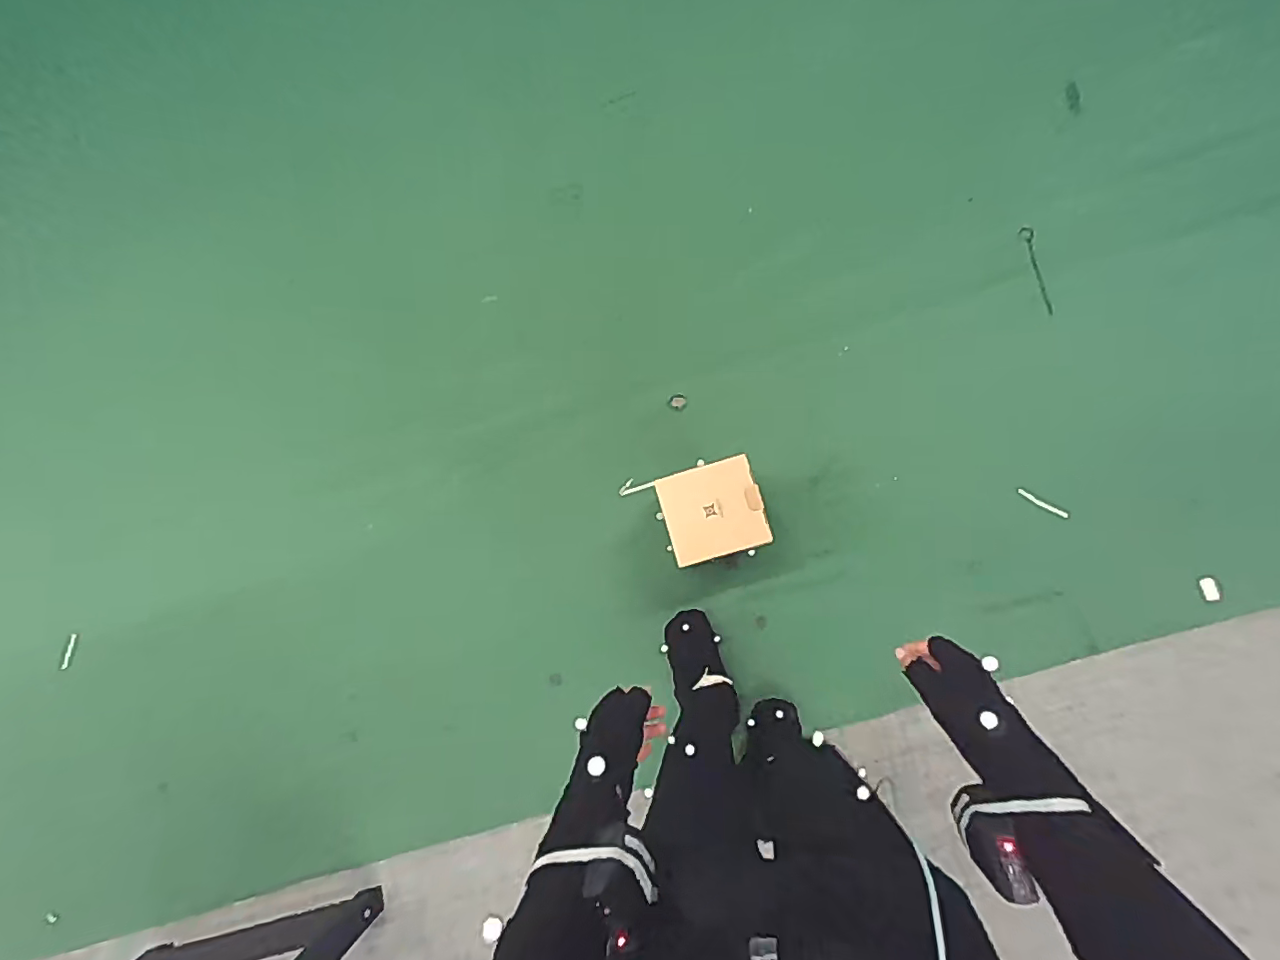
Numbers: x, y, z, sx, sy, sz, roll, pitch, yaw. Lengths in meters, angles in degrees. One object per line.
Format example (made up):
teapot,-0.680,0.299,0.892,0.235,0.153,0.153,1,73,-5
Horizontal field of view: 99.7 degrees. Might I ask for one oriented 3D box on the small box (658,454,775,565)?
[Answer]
small box,0.143,0.064,1.046,0.179,0.176,0.168,-17,81,2
